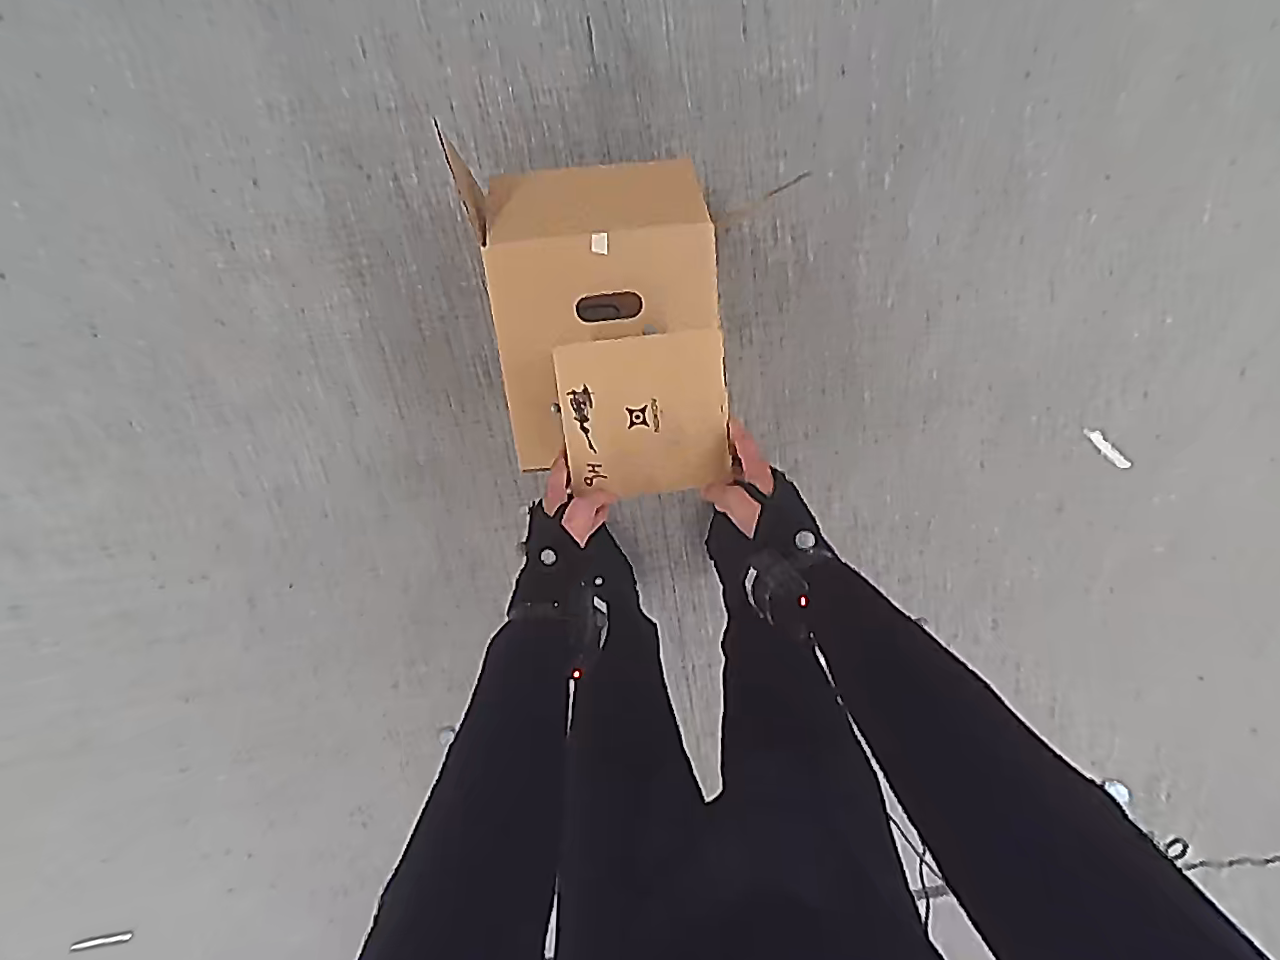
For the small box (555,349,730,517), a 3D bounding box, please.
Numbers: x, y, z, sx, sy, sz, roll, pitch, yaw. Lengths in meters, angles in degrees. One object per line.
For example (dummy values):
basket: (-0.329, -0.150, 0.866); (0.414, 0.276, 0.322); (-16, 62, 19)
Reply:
small box: (0.001, -0.065, 0.643); (0.179, 0.176, 0.168); (-6, 104, -2)
